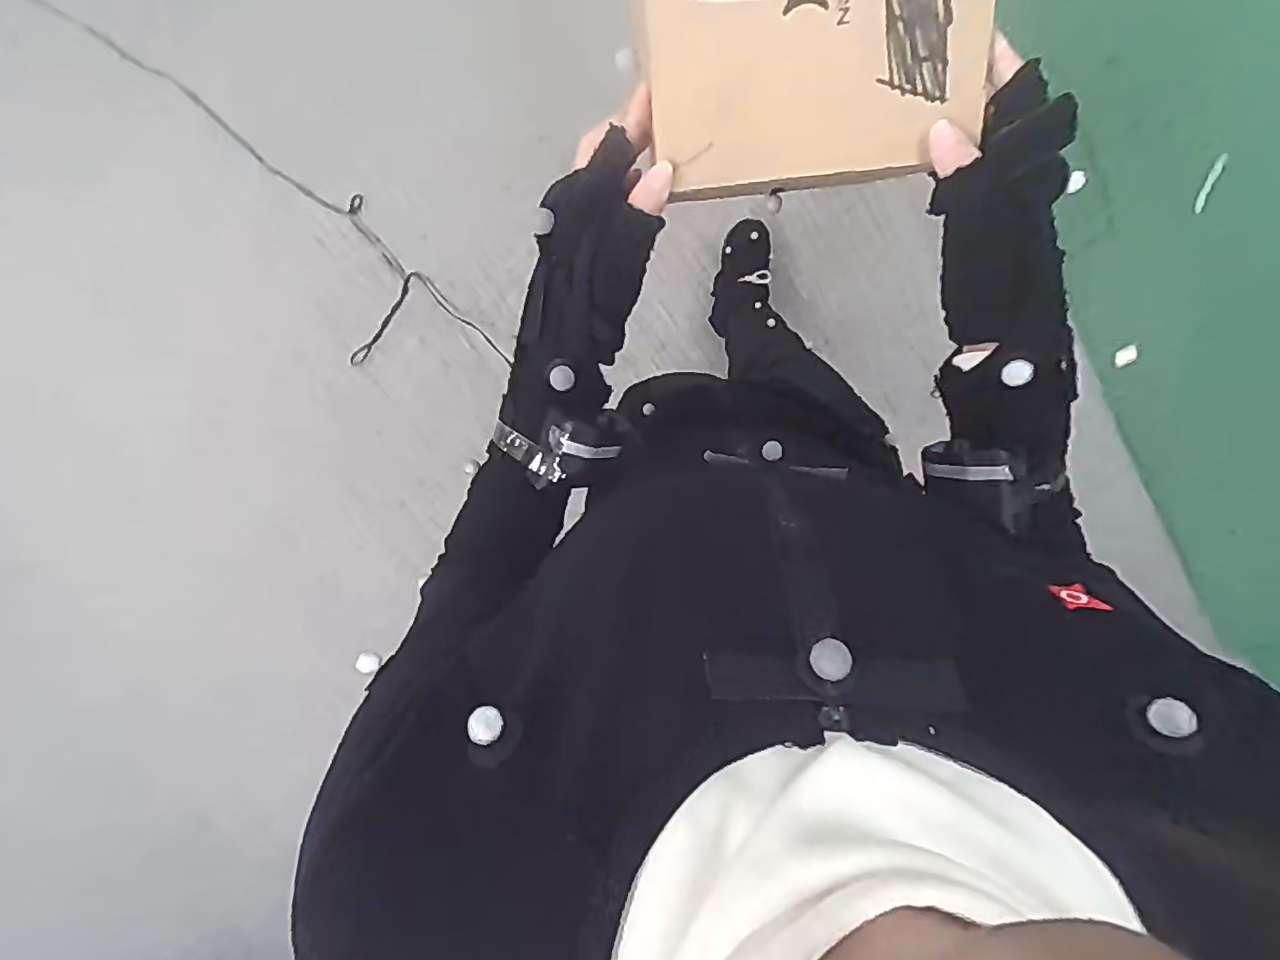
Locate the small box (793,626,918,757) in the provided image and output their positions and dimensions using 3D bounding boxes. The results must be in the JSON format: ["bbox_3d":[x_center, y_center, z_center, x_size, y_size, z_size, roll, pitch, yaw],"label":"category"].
[{"bbox_3d":[0.448,0.440,1.149,0.179,0.176,0.168,-25,101,12],"label":"small box"}]

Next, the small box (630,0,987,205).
[{"bbox_3d":[0.086,-0.274,0.339,0.179,0.176,0.168,-6,116,3],"label":"small box"}]
